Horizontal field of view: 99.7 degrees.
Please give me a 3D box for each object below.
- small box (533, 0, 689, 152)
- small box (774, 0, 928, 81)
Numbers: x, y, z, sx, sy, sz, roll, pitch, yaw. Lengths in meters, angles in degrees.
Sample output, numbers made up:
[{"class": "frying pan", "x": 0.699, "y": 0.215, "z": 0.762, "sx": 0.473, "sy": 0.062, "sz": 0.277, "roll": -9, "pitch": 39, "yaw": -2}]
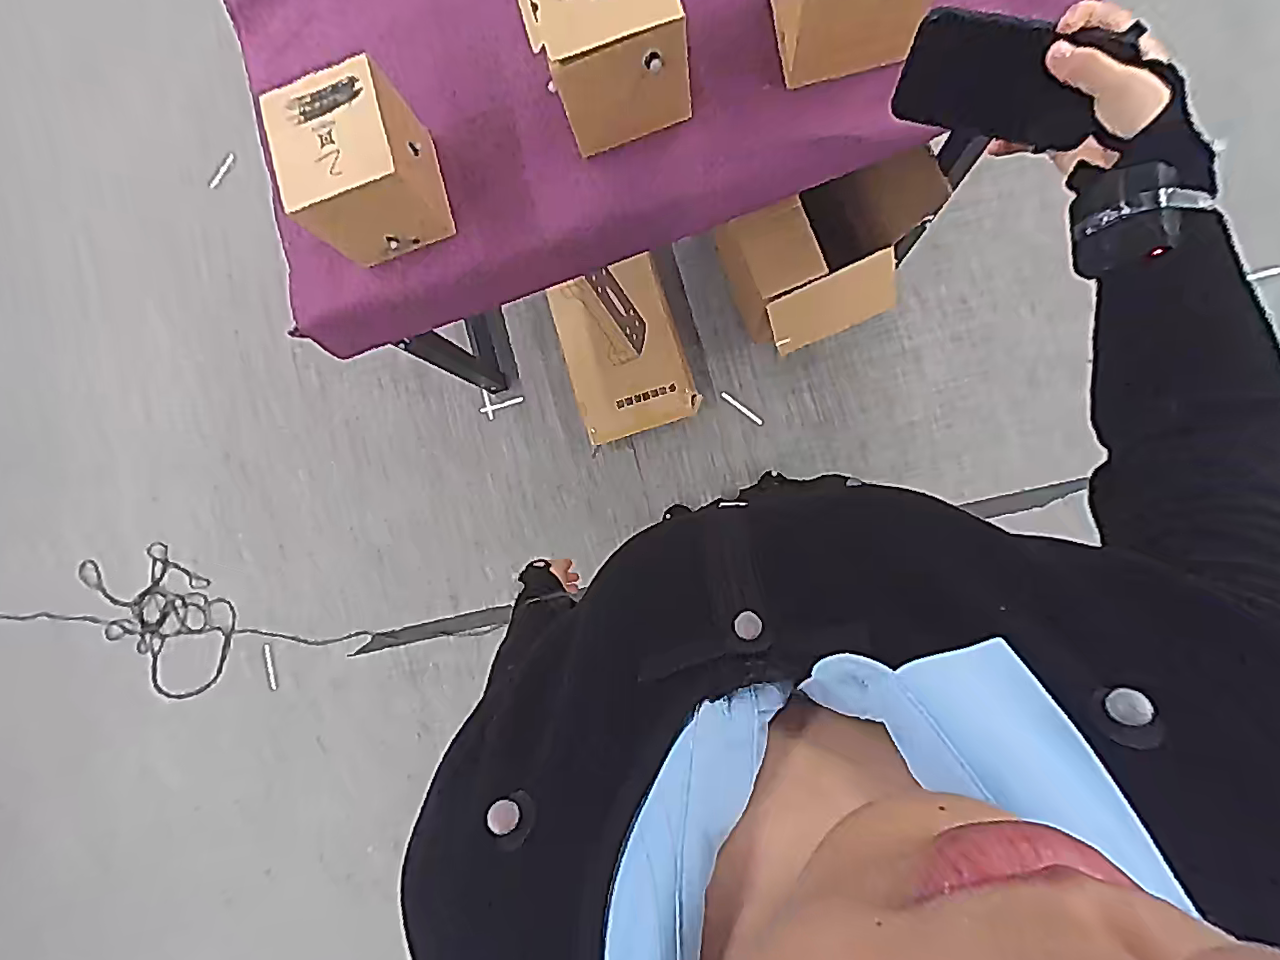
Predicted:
[{"class": "small box", "x": -0.036, "y": -0.598, "z": 0.740, "sx": 0.179, "sy": 0.176, "sz": 0.168, "roll": -17, "pitch": 83, "yaw": 7}, {"class": "small box", "x": 0.273, "y": -0.666, "z": 0.700, "sx": 0.179, "sy": 0.176, "sz": 0.168, "roll": -10, "pitch": 86, "yaw": 7}]
